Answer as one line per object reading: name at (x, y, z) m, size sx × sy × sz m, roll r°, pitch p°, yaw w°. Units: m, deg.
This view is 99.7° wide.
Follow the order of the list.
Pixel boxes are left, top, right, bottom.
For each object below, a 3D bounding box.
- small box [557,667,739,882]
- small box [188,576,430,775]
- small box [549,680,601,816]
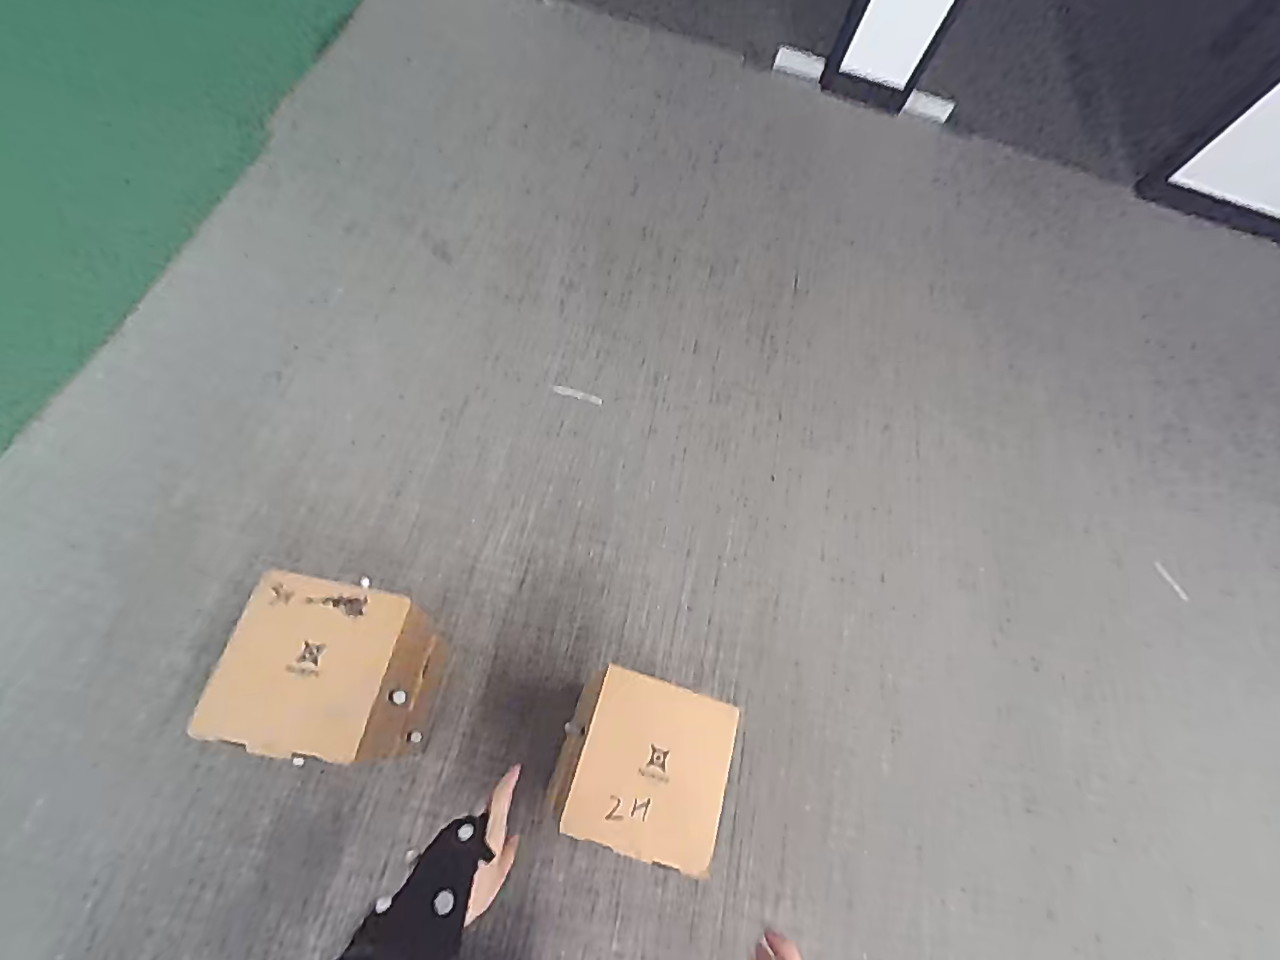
small box at (0.002, 0.350, 0.665) m, size 0.168 × 0.176 × 0.179 m, roll 19°, pitch 63°, yaw -2°
small box at (-0.365, 0.233, 0.643) m, size 0.168 × 0.176 × 0.179 m, roll 13°, pitch 64°, yaw -6°
small box at (-0.032, 0.420, 0.812) m, size 0.168 × 0.176 × 0.179 m, roll 21°, pitch 64°, yaw -2°
